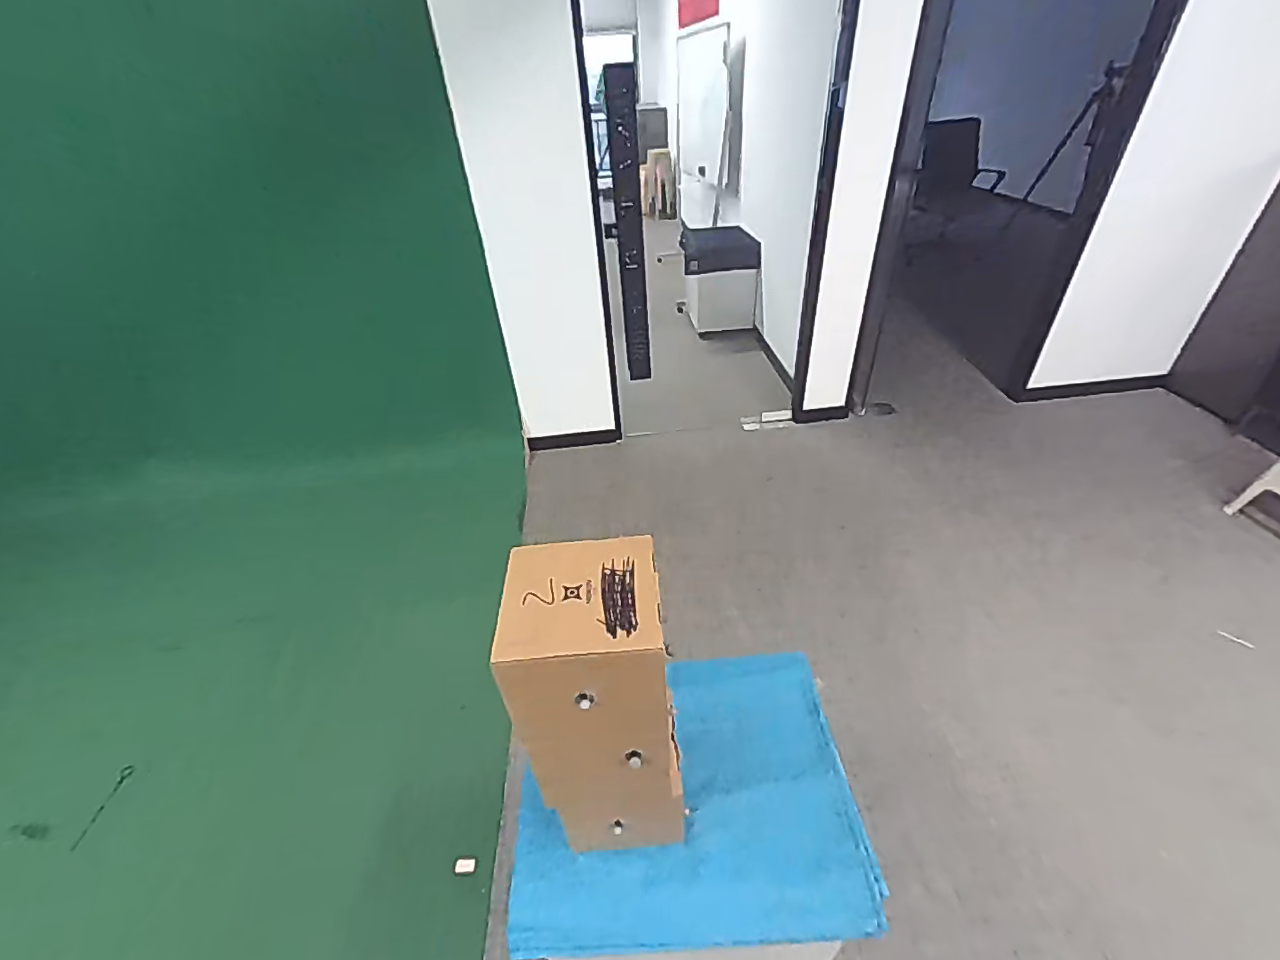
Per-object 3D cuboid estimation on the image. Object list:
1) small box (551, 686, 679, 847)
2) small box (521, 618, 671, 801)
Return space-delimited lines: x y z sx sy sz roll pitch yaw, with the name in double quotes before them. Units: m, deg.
"small box" -0.034 0.441 0.837 0.179 0.176 0.168 -5 37 0
"small box" -0.052 0.312 0.737 0.179 0.176 0.168 -5 36 -1
